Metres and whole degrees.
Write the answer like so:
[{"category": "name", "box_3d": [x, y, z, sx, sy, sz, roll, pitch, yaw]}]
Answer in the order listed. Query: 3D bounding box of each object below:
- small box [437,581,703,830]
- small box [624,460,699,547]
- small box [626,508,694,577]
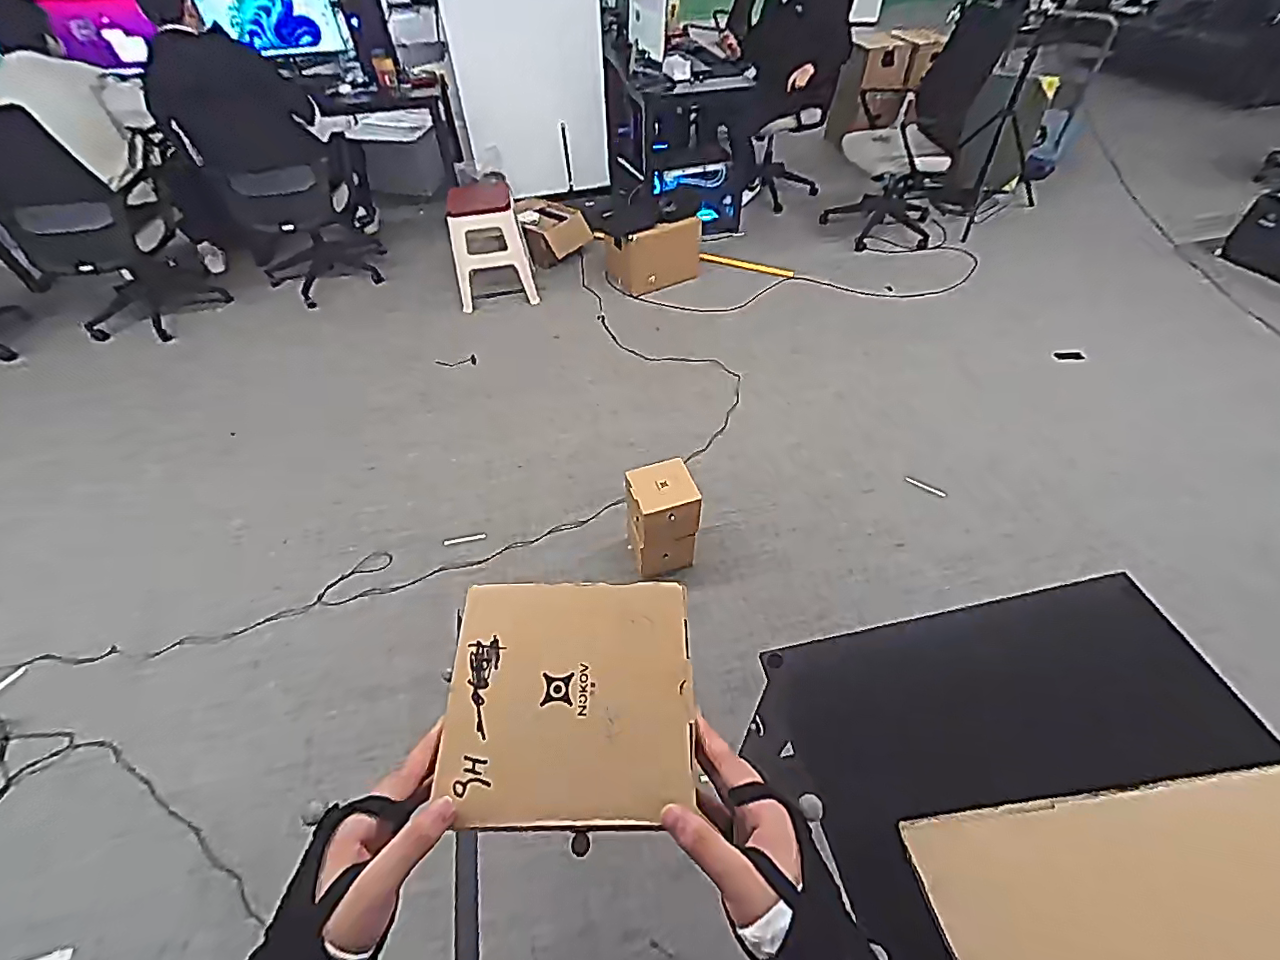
[{"category": "small box", "box_3d": [-0.047, 0.196, 0.462, 0.179, 0.176, 0.168, 0, 55, -1]}, {"category": "small box", "box_3d": [0.062, 0.073, 1.589, 0.179, 0.176, 0.168, -15, 51, -12]}, {"category": "small box", "box_3d": [0.059, 0.182, 1.711, 0.179, 0.176, 0.168, -14, 50, -9]}]
